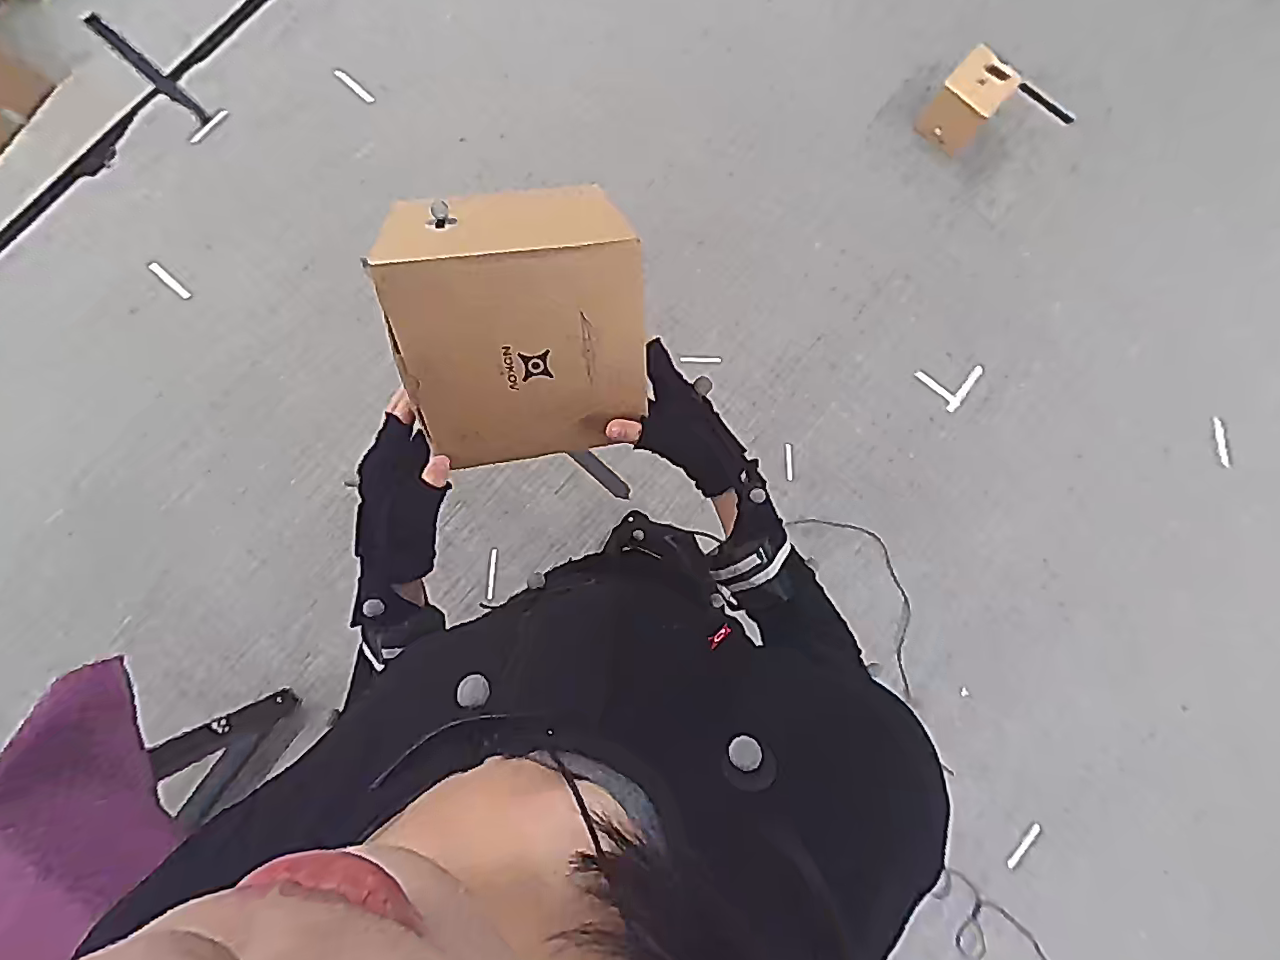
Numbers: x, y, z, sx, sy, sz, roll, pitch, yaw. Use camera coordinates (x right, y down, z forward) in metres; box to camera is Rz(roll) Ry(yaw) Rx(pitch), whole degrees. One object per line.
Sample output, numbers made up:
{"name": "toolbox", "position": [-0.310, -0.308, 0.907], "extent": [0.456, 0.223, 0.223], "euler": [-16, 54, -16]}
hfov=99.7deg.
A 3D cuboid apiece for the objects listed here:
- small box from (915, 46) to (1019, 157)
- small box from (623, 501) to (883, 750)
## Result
{"name": "small box", "position": [0.978, -1.138, 1.637], "extent": [0.168, 0.176, 0.179], "euler": [42, 85, 3]}
{"name": "small box", "position": [0.107, 0.140, 0.560], "extent": [0.176, 0.168, 0.179], "euler": [-2, 120, -38]}
